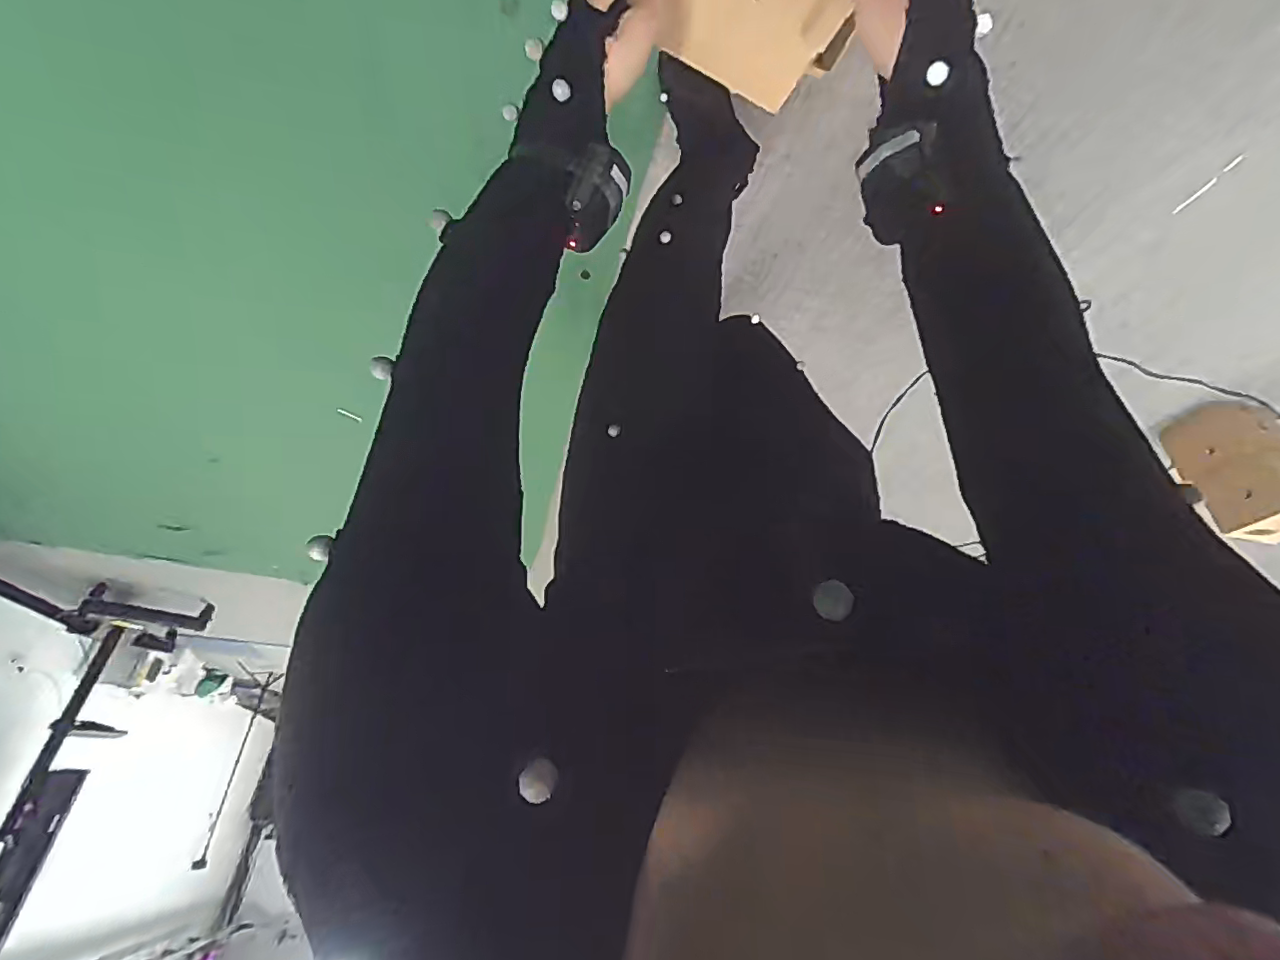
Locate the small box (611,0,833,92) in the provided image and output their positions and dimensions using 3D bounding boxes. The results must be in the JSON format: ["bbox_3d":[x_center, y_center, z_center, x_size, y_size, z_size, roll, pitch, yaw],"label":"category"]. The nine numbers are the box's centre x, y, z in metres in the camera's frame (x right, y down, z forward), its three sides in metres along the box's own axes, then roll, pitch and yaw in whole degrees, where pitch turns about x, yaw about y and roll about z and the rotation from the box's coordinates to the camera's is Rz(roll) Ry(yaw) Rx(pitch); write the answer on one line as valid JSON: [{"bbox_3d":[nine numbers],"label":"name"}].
[{"bbox_3d":[0.080,-0.479,0.439,0.179,0.176,0.168,12,153,-23],"label":"small box"}]

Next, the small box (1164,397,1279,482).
[{"bbox_3d":[1.618,-0.105,1.482,0.168,0.176,0.179,7,148,-5],"label":"small box"}]

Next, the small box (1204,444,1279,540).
[{"bbox_3d":[1.629,0.033,1.394,0.168,0.176,0.179,8,146,-9],"label":"small box"}]
